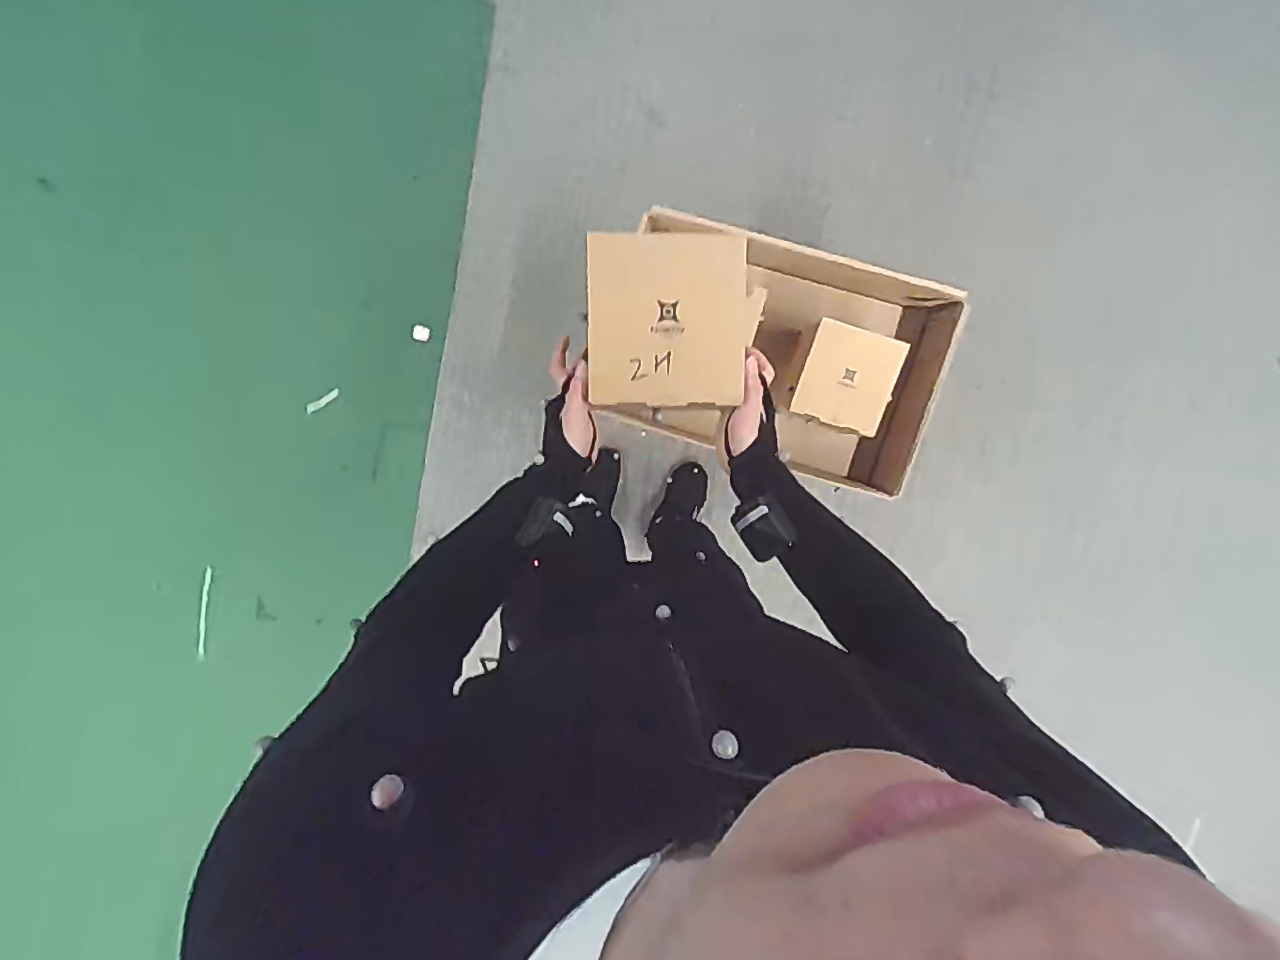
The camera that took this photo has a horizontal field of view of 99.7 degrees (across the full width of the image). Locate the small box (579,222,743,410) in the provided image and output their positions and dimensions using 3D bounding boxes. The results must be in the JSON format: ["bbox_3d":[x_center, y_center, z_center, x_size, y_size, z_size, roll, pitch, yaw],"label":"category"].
[{"bbox_3d":[0.017,-0.173,0.619,0.168,0.176,0.179,0,96,-2],"label":"small box"}]

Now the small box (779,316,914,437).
[{"bbox_3d":[0.381,-0.193,1.034,0.168,0.176,0.179,18,99,1],"label":"small box"}]
